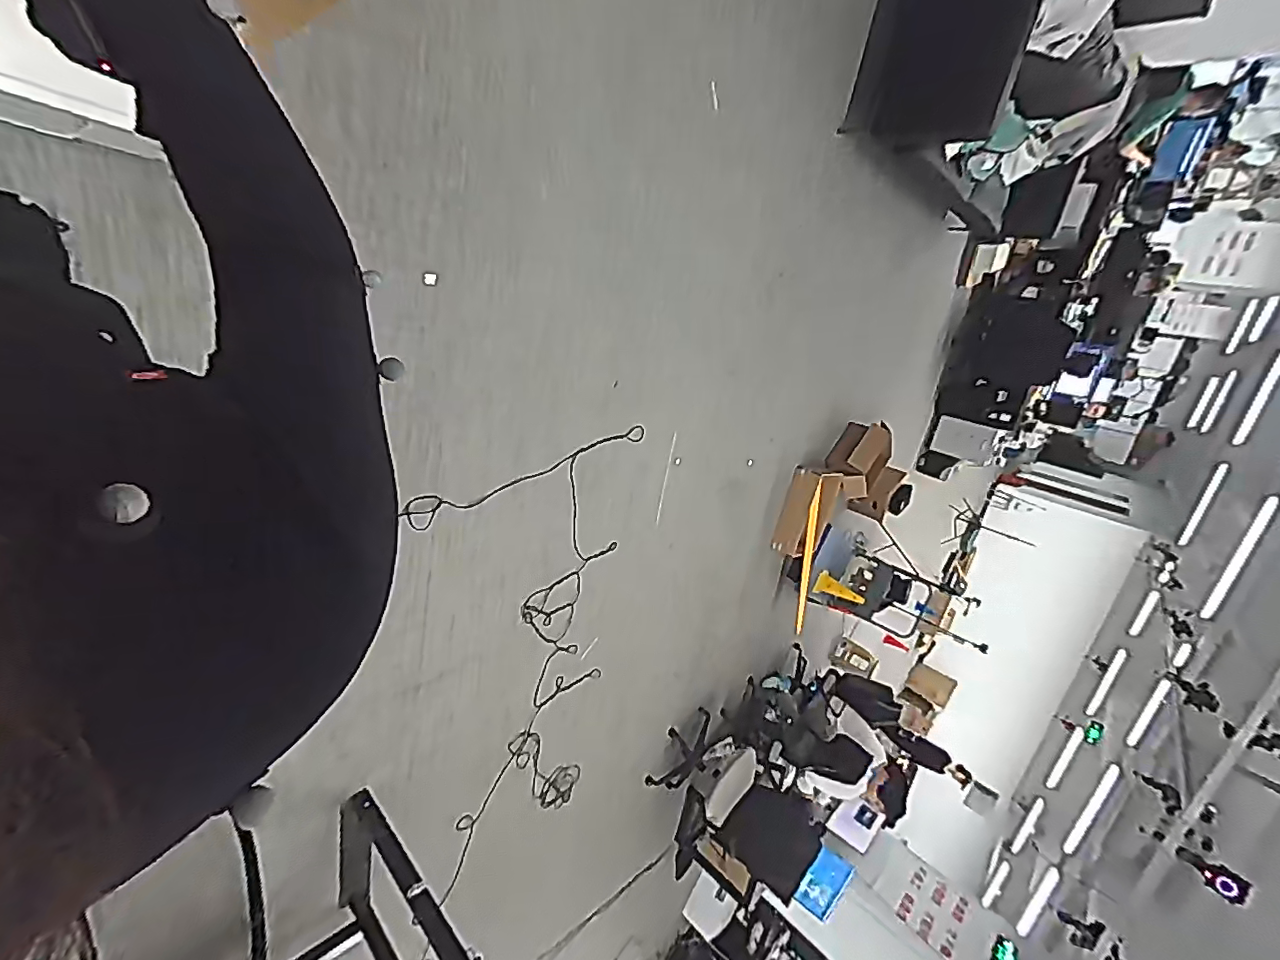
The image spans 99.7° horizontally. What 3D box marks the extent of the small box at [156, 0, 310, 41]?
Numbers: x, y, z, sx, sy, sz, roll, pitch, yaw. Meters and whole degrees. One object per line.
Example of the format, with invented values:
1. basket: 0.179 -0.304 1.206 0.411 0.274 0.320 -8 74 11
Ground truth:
1. small box: -0.443 -0.572 0.531 0.179 0.176 0.168 -3 112 -47
